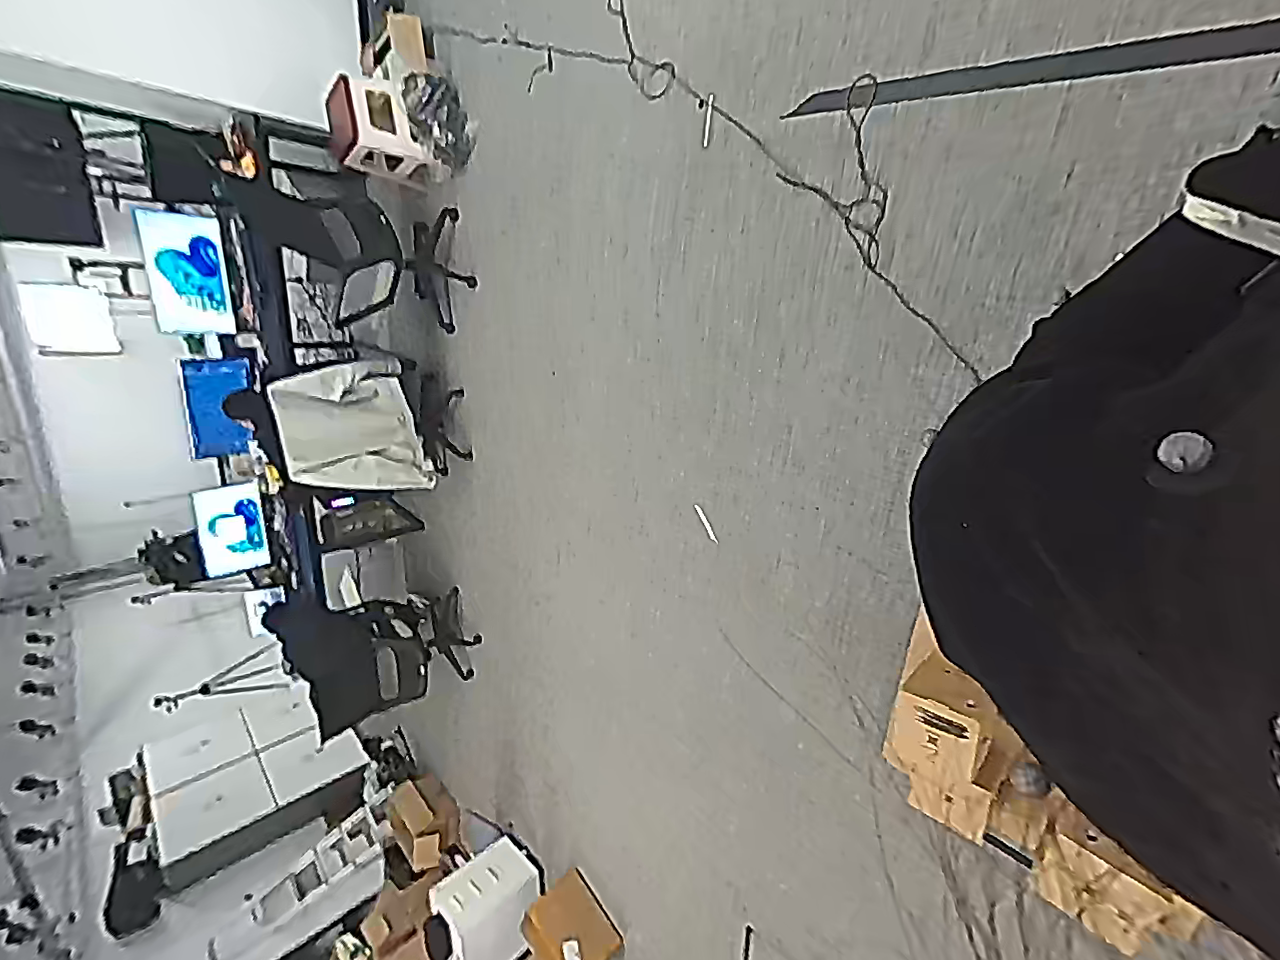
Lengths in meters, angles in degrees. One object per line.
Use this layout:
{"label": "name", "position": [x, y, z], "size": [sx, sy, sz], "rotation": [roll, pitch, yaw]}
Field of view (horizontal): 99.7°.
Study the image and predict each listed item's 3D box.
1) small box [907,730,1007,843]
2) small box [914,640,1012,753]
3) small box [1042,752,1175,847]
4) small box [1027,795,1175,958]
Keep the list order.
{"label": "small box", "position": [0.834, 0.790, 1.424], "size": [0.179, 0.176, 0.168], "rotation": [15, 112, 42]}
{"label": "small box", "position": [0.820, 0.535, 1.368], "size": [0.168, 0.176, 0.179], "rotation": [16, 112, 42]}
{"label": "small box", "position": [1.037, 0.744, 1.201], "size": [0.179, 0.176, 0.168], "rotation": [24, 117, 38]}
{"label": "small box", "position": [0.923, 0.776, 1.086], "size": [0.179, 0.176, 0.168], "rotation": [25, 118, 38]}
